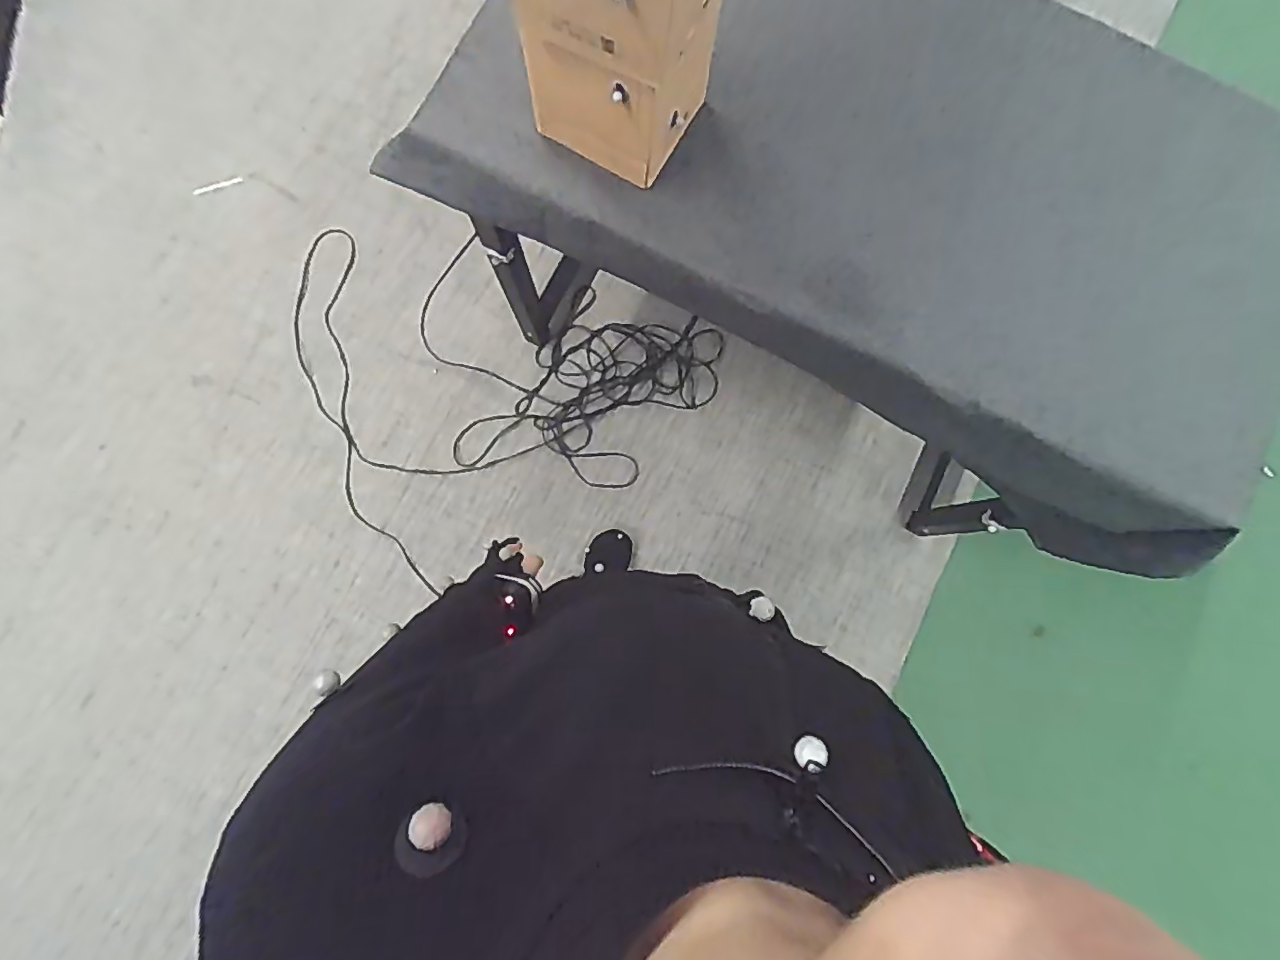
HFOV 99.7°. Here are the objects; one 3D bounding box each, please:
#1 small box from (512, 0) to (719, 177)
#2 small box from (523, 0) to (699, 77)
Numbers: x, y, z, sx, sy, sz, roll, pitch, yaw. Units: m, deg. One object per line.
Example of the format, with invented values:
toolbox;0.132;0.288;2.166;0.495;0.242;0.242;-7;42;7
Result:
small box;-0.026;-0.515;0.657;0.179;0.176;0.168;29;81;2
small box;-0.017;-0.530;0.496;0.168;0.176;0.179;24;81;-1
